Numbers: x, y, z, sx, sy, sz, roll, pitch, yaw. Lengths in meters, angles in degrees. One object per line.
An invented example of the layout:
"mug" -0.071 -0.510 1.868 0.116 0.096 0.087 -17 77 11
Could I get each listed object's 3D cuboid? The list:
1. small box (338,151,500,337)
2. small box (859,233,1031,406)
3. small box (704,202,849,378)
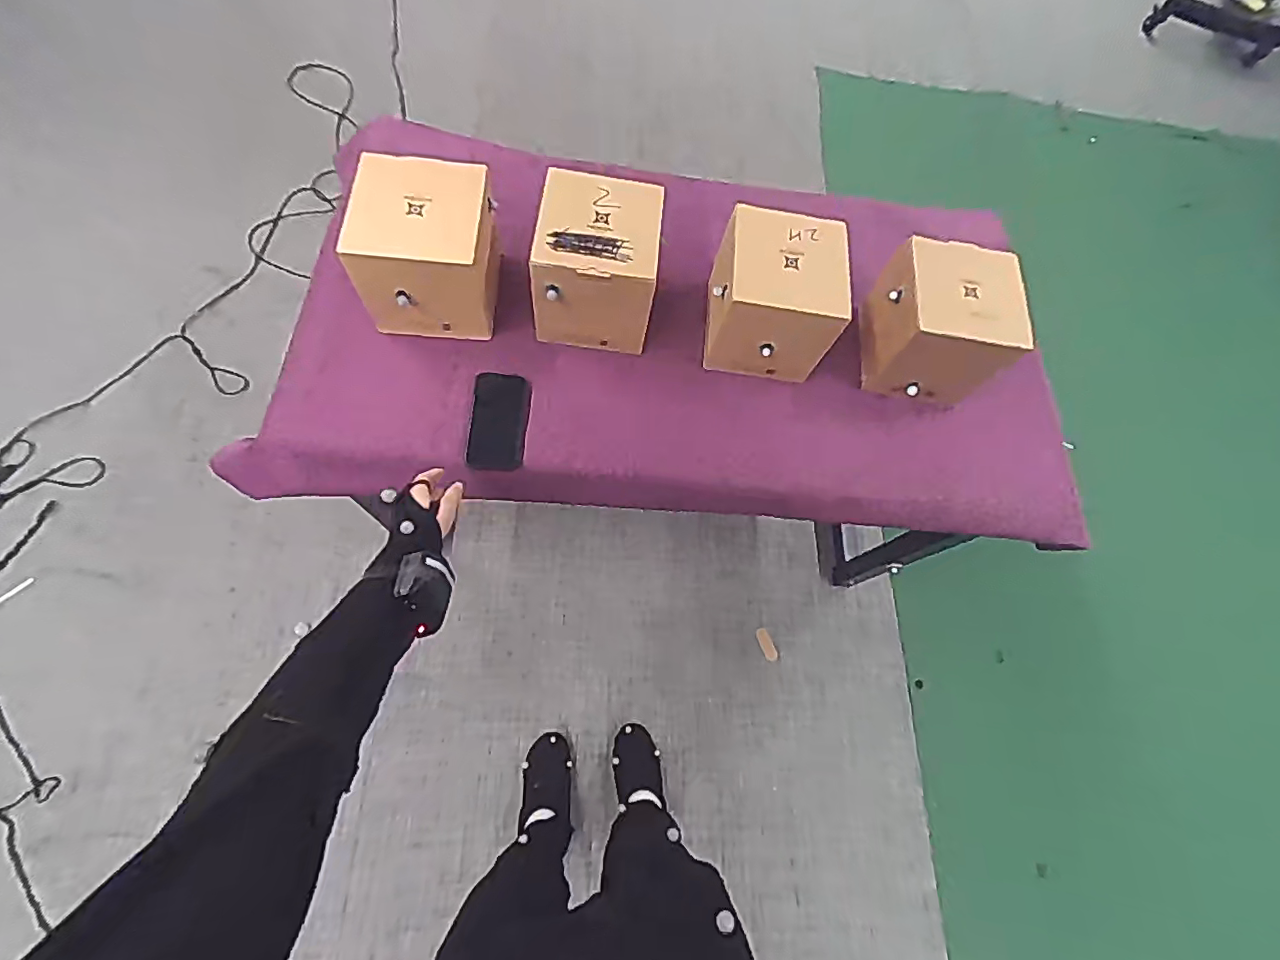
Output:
"small box" -0.298 -0.326 0.772 0.168 0.176 0.179 2 68 -6
"small box" 0.455 -0.241 0.838 0.168 0.176 0.179 9 68 -3
"small box" 0.198 -0.276 0.817 0.168 0.176 0.179 8 68 -5
